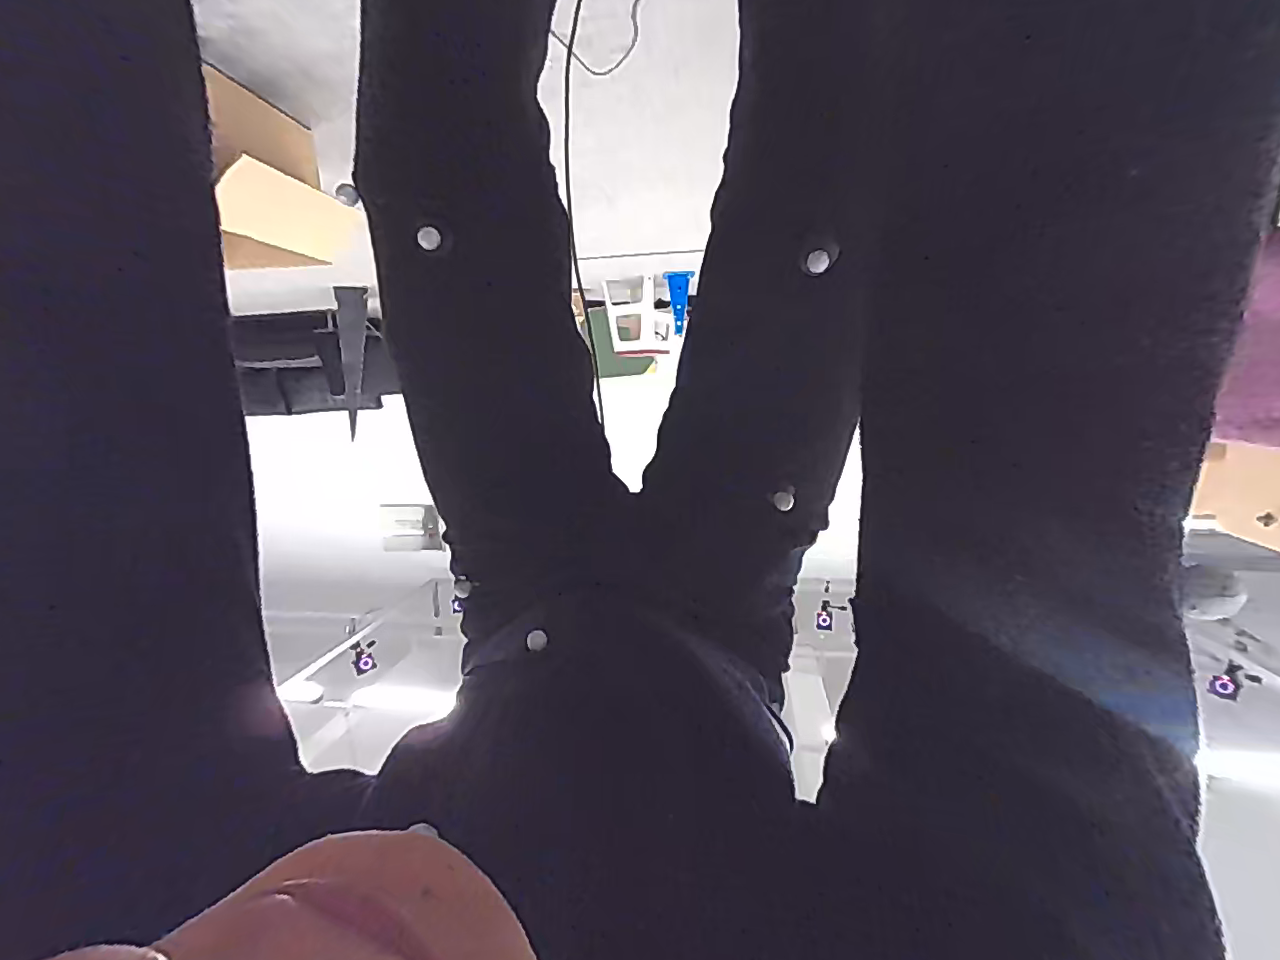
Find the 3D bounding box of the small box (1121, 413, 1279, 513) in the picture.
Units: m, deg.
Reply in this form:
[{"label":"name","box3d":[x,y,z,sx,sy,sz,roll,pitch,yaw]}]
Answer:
[{"label":"small box","box3d":[1.072,-0.038,1.022,0.179,0.176,0.168,-2,-169,7]}]
